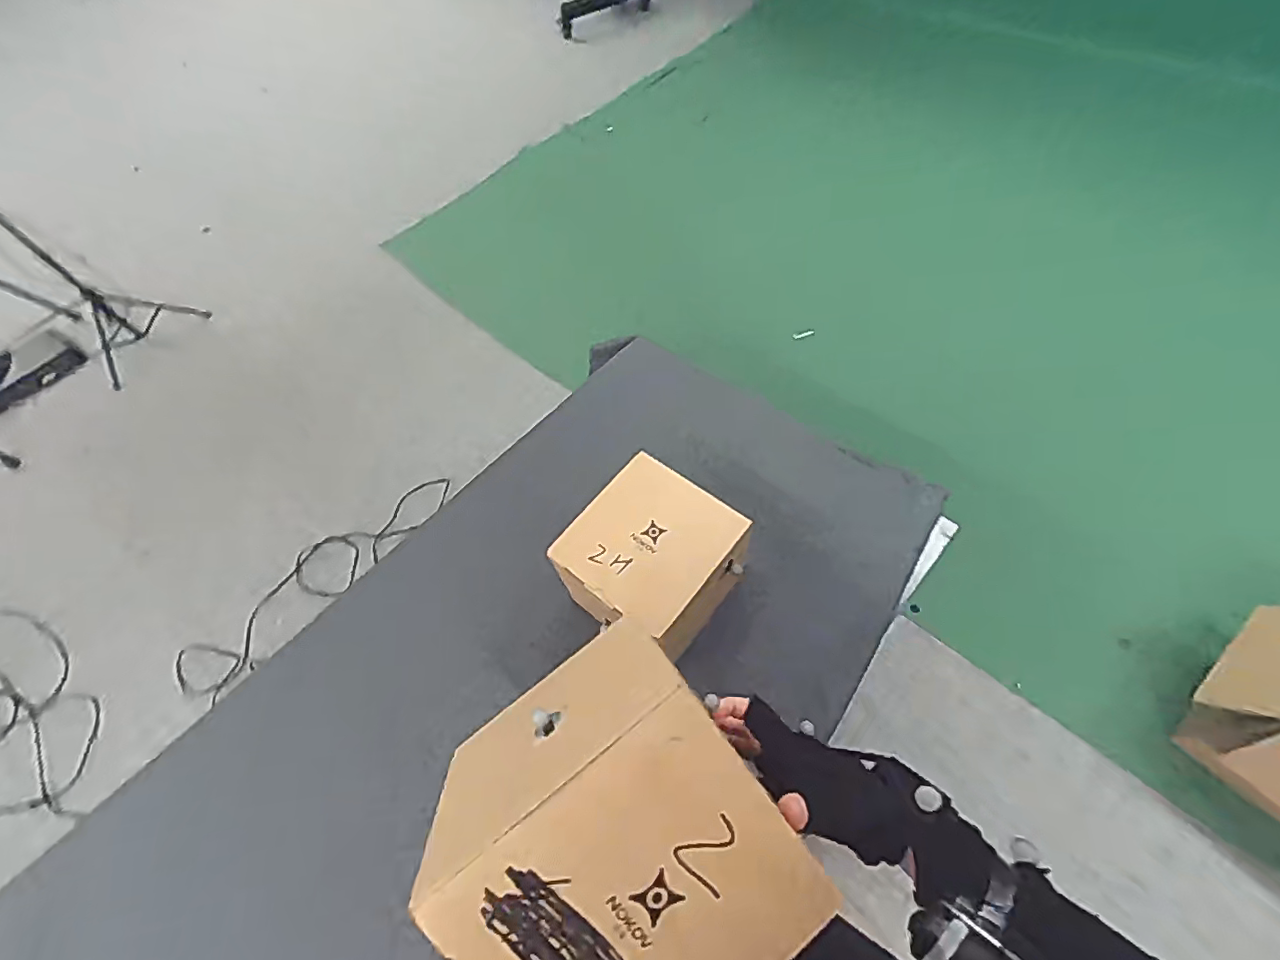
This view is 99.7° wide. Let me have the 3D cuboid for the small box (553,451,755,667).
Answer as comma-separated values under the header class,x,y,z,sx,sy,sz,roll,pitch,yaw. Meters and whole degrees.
class,x,y,z,sx,sy,sz,roll,pitch,yaw
small box,0.021,0.104,0.679,0.168,0.176,0.179,34,69,23
